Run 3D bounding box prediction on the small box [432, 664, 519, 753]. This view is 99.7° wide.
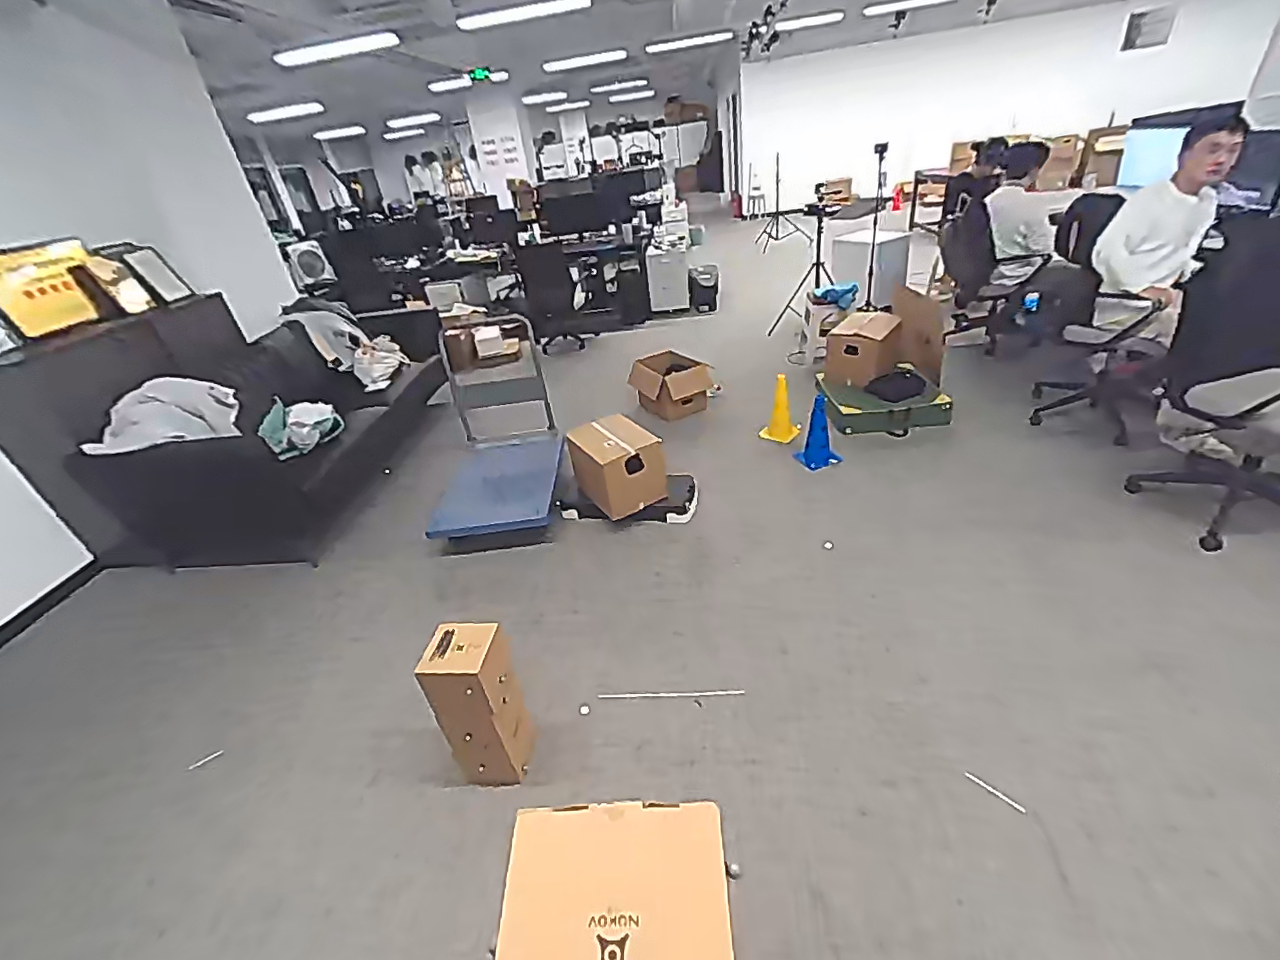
[{"bbox_3d":[-0.456,0.648,1.534,0.168,0.176,0.179,-3,32,9],"label":"small box"}]

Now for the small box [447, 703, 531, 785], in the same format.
[{"bbox_3d":[-0.441,0.788,1.619,0.179,0.176,0.168,-4,32,9],"label":"small box"}]

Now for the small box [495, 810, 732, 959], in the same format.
[{"bbox_3d":[-0.011,0.384,0.421,0.168,0.176,0.179,-4,41,3],"label":"small box"}]
